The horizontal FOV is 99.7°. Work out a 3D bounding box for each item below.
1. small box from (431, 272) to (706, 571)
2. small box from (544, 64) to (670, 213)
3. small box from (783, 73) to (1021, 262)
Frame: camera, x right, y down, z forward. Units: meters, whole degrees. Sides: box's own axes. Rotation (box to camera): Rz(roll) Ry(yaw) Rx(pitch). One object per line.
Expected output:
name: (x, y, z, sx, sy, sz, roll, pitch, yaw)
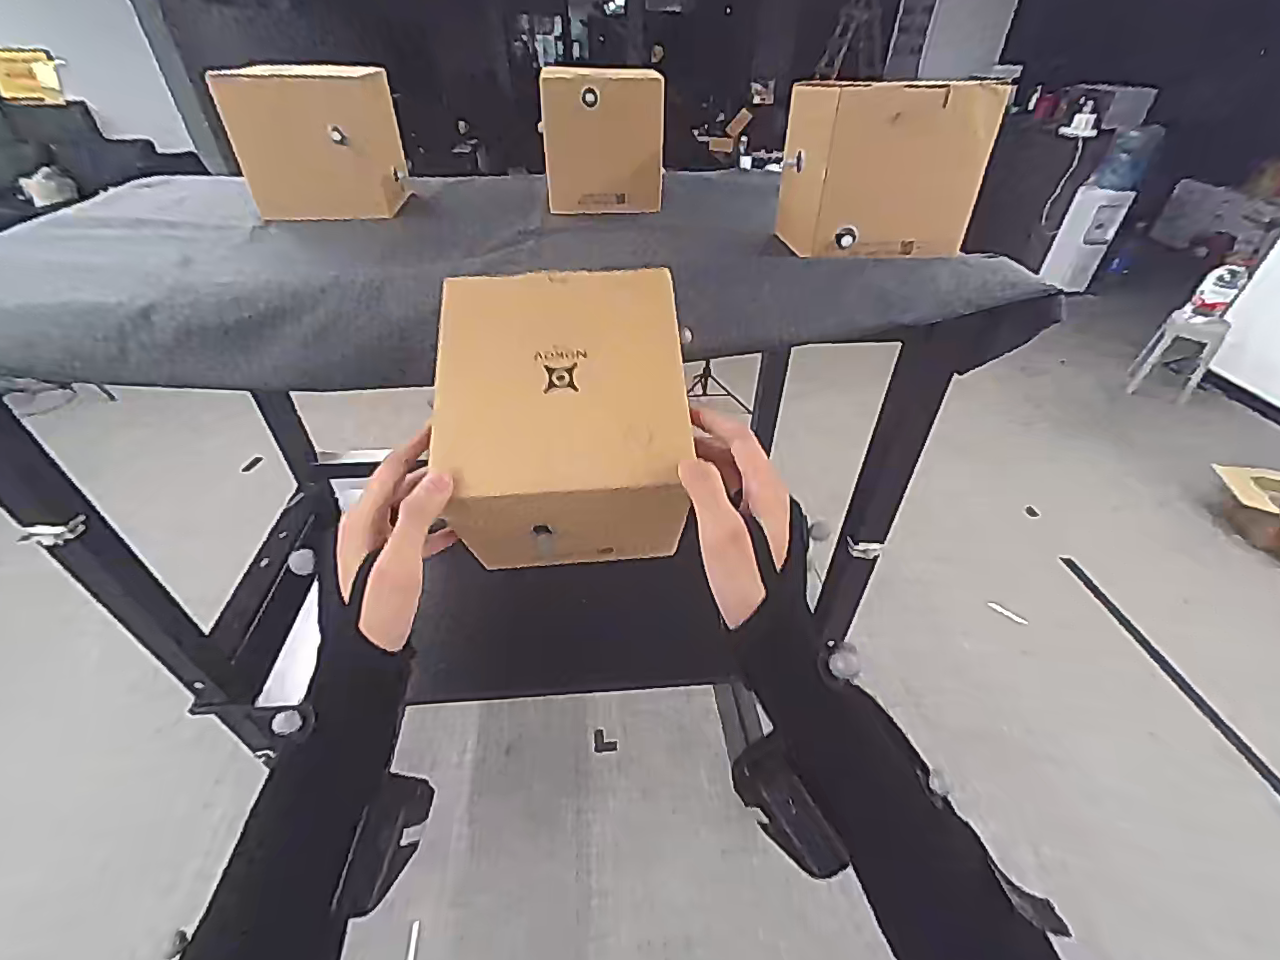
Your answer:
small box: (-0.048, -0.032, 0.421, 0.168, 0.176, 0.179, -3, 65, -4)
small box: (-0.051, -0.512, 0.809, 0.168, 0.176, 0.179, -3, 39, -5)
small box: (0.272, -0.352, 0.611, 0.168, 0.176, 0.179, -1, 36, -2)
